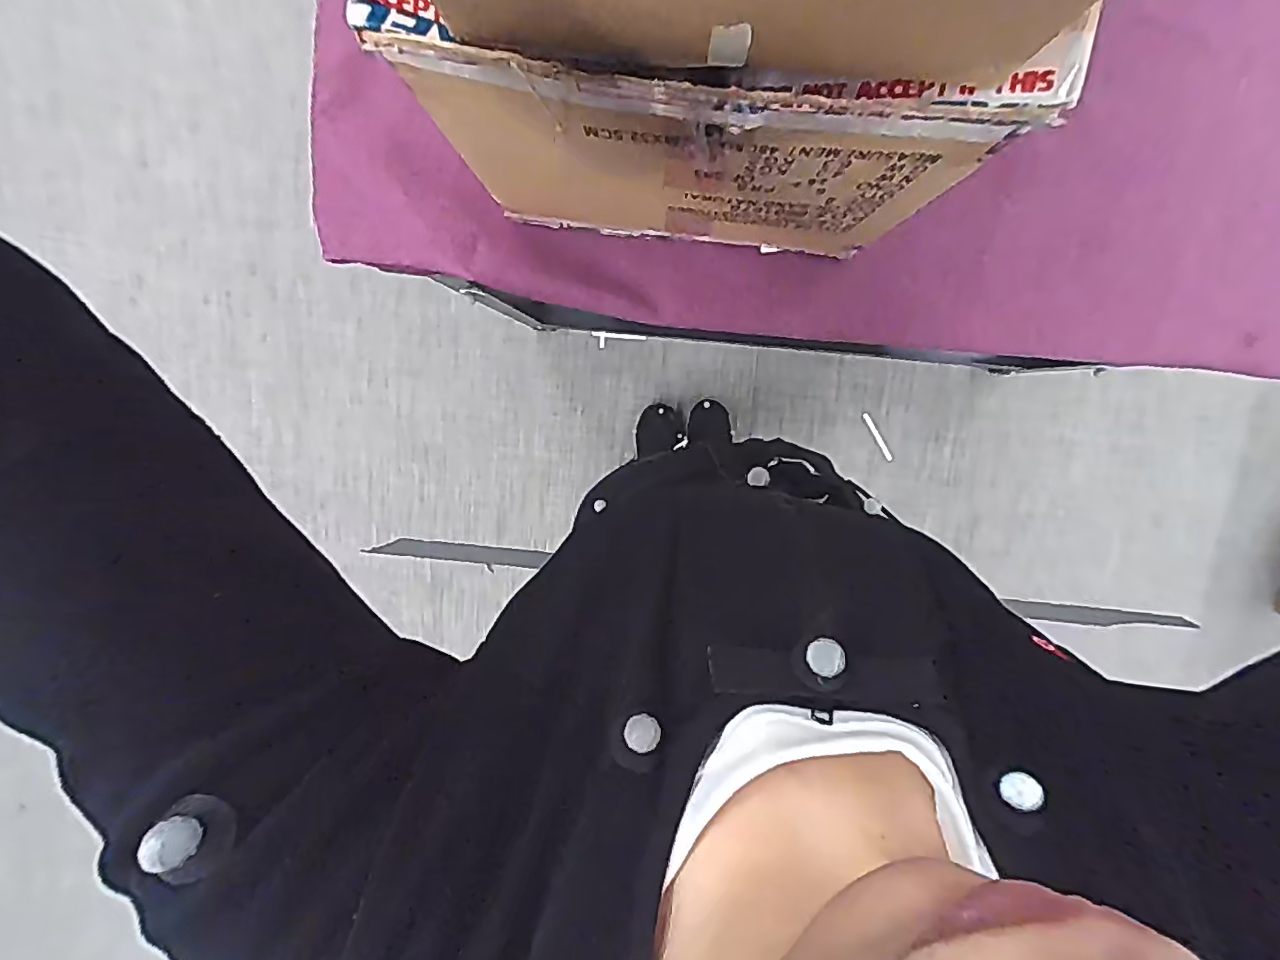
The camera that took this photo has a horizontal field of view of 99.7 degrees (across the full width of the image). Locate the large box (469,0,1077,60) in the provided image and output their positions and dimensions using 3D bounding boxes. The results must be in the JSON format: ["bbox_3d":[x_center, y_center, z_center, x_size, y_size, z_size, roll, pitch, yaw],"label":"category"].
[{"bbox_3d":[0.067,-0.411,0.120,0.320,0.320,0.408,5,100,2],"label":"large box"}]
